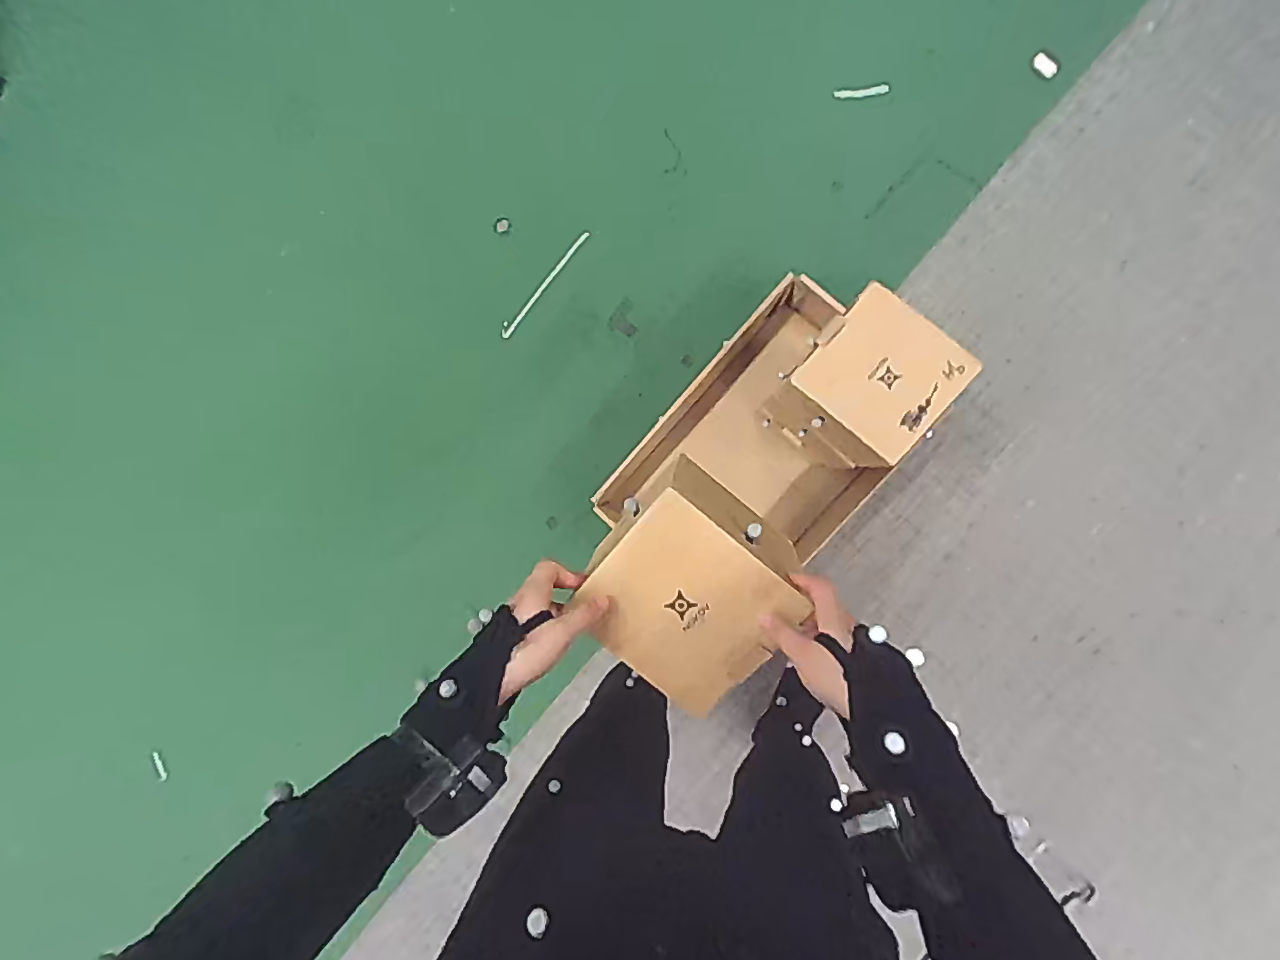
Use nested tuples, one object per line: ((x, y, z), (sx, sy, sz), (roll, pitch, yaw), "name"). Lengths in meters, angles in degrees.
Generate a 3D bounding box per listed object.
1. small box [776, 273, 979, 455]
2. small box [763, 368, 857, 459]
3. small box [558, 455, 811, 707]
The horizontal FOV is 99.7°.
((0.312, -0.146, 0.758), (0.179, 0.176, 0.168), (40, 95, 5), "small box")
((0.330, -0.148, 0.921), (0.179, 0.176, 0.168), (43, 96, 3), "small box")
((0.046, 0.089, 0.573), (0.179, 0.176, 0.168), (40, 104, -4), "small box")
